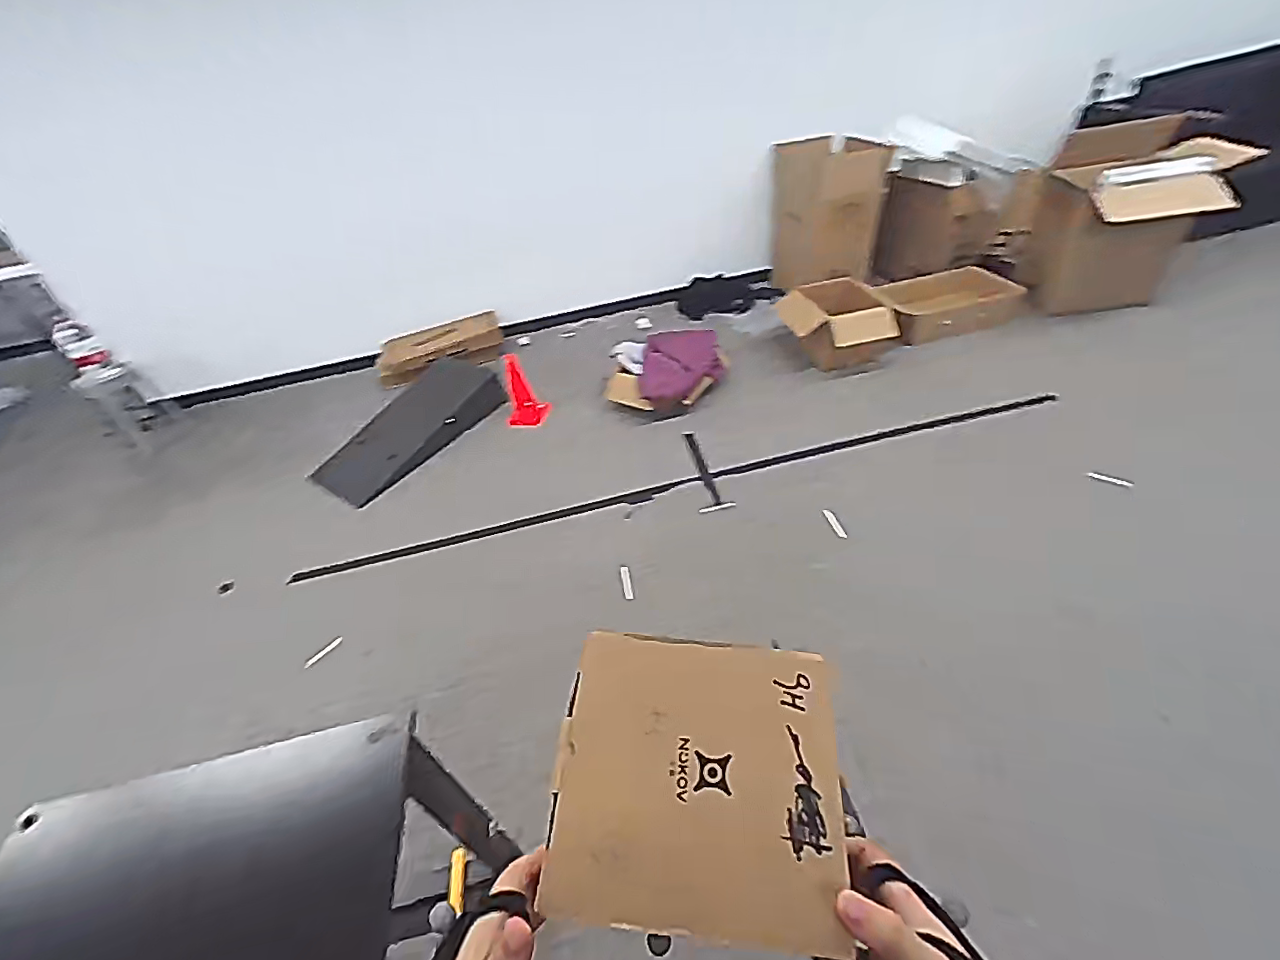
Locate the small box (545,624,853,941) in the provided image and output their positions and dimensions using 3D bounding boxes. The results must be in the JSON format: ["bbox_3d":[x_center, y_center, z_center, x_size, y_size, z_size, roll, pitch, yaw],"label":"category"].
[{"bbox_3d":[0.044,0.226,0.411,0.179,0.176,0.168,5,54,6],"label":"small box"}]
